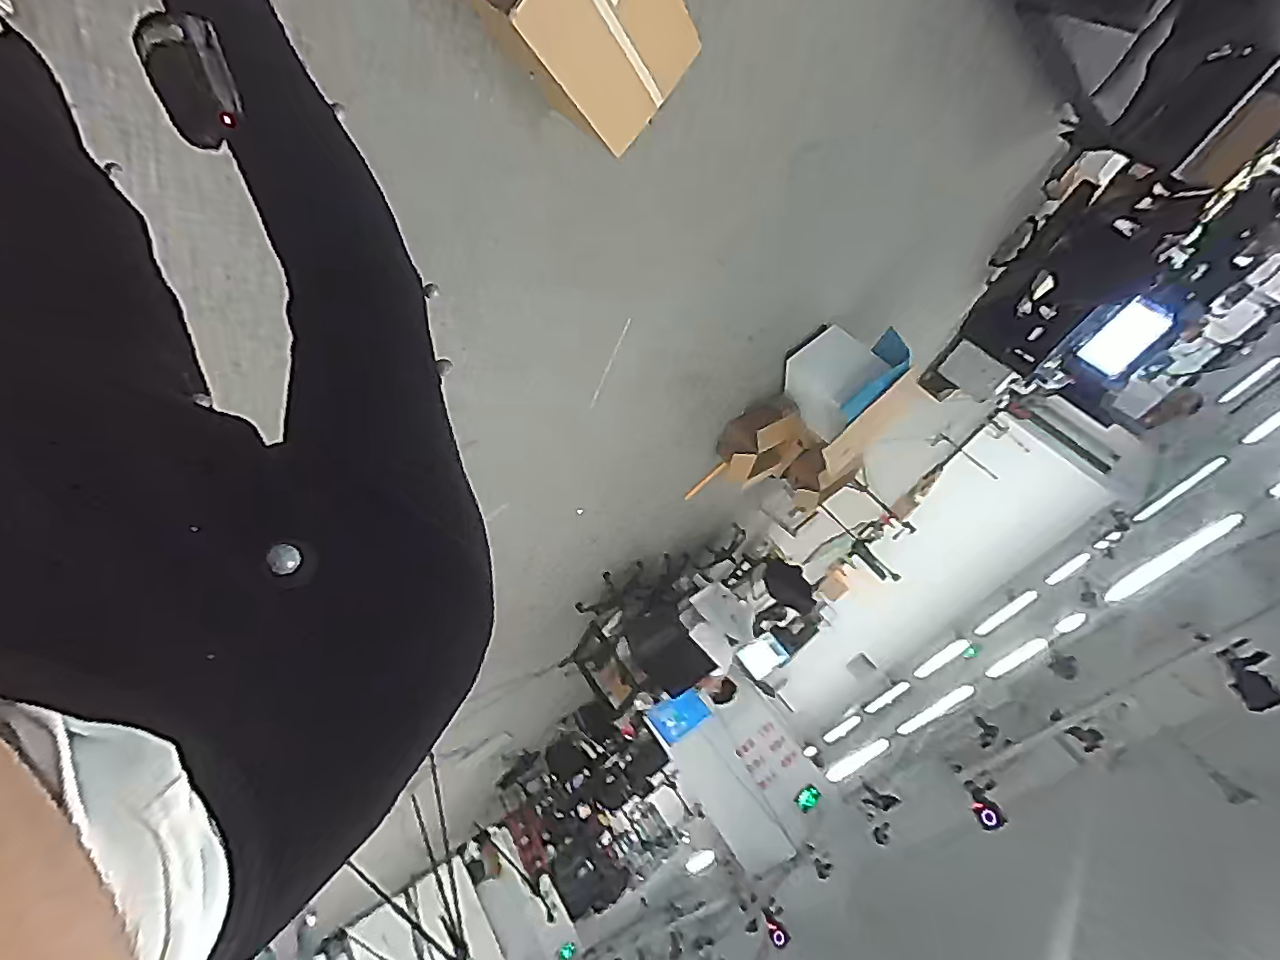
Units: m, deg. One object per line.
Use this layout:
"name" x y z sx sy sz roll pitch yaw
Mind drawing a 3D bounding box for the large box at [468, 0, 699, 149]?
"large box" -0.141 -1.047 1.190 0.320 0.320 0.408 -48 153 14
